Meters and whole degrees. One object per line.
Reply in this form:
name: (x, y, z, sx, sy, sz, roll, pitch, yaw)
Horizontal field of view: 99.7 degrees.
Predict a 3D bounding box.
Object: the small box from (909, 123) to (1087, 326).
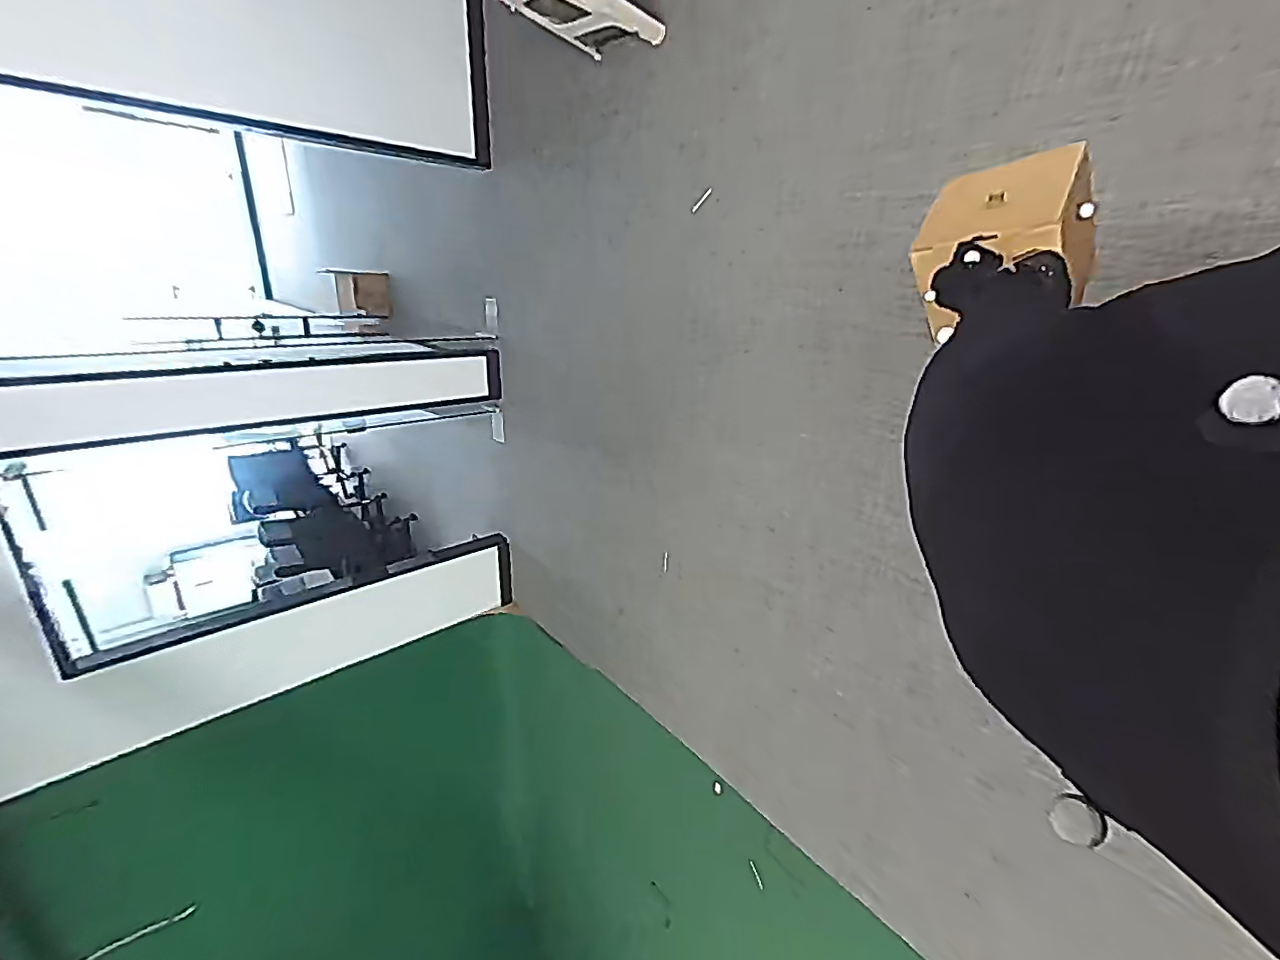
small box: (0.504, -0.341, 0.753, 0.168, 0.179, 0.176, 8, 149, 46)
